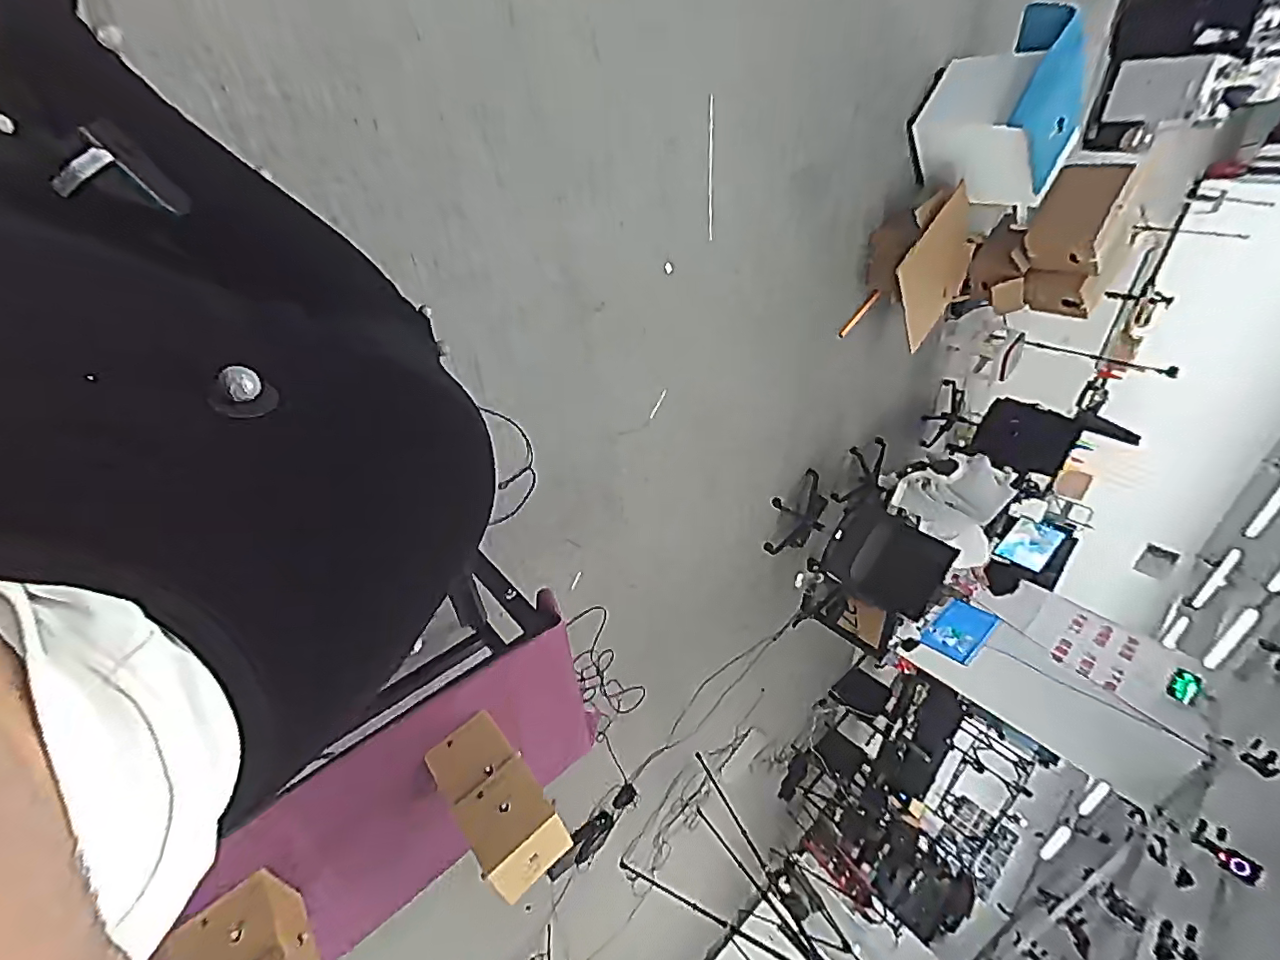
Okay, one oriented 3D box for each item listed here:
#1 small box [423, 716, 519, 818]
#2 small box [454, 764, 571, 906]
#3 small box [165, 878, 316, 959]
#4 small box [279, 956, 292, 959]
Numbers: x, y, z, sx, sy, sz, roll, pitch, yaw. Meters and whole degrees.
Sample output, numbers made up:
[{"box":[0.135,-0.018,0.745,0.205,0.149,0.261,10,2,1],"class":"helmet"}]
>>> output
[{"box":[-0.382,0.702,1.284,0.168,0.176,0.179,-34,135,-27],"class":"small box"},{"box":[-0.276,0.755,1.169,0.168,0.176,0.179,-32,134,-27],"class":"small box"},{"box":[-0.756,0.911,1.029,0.168,0.176,0.179,-31,135,-30],"class":"small box"},{"box":[-0.647,0.973,0.921,0.168,0.176,0.179,-29,135,-31],"class":"small box"}]
